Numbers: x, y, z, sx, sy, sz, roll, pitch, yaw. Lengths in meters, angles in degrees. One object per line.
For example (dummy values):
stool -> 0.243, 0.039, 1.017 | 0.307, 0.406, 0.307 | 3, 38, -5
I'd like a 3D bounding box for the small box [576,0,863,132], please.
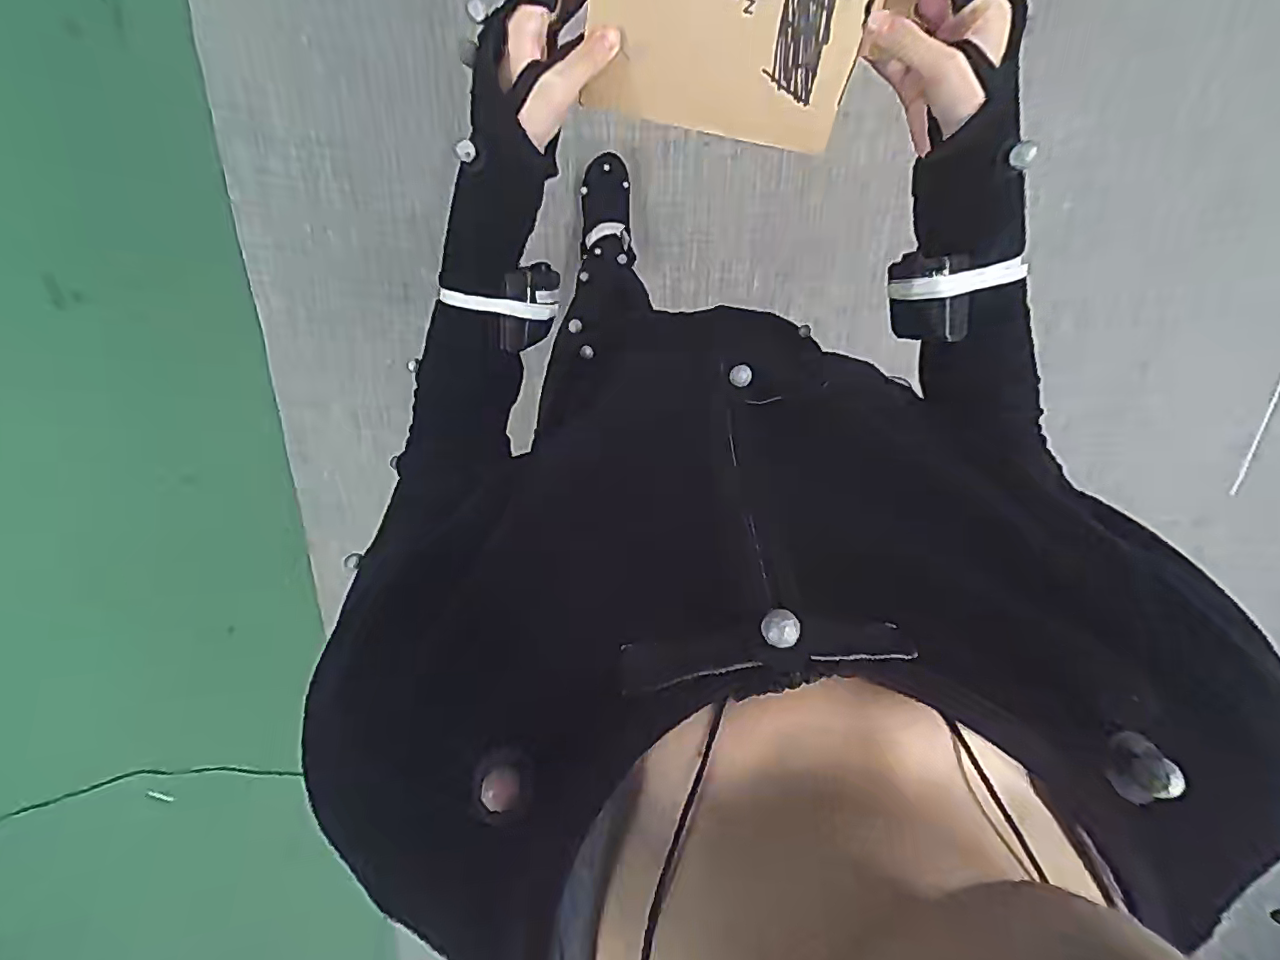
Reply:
small box -> 0.057, -0.373, 0.375 | 0.179, 0.176, 0.168 | 8, 136, -6
